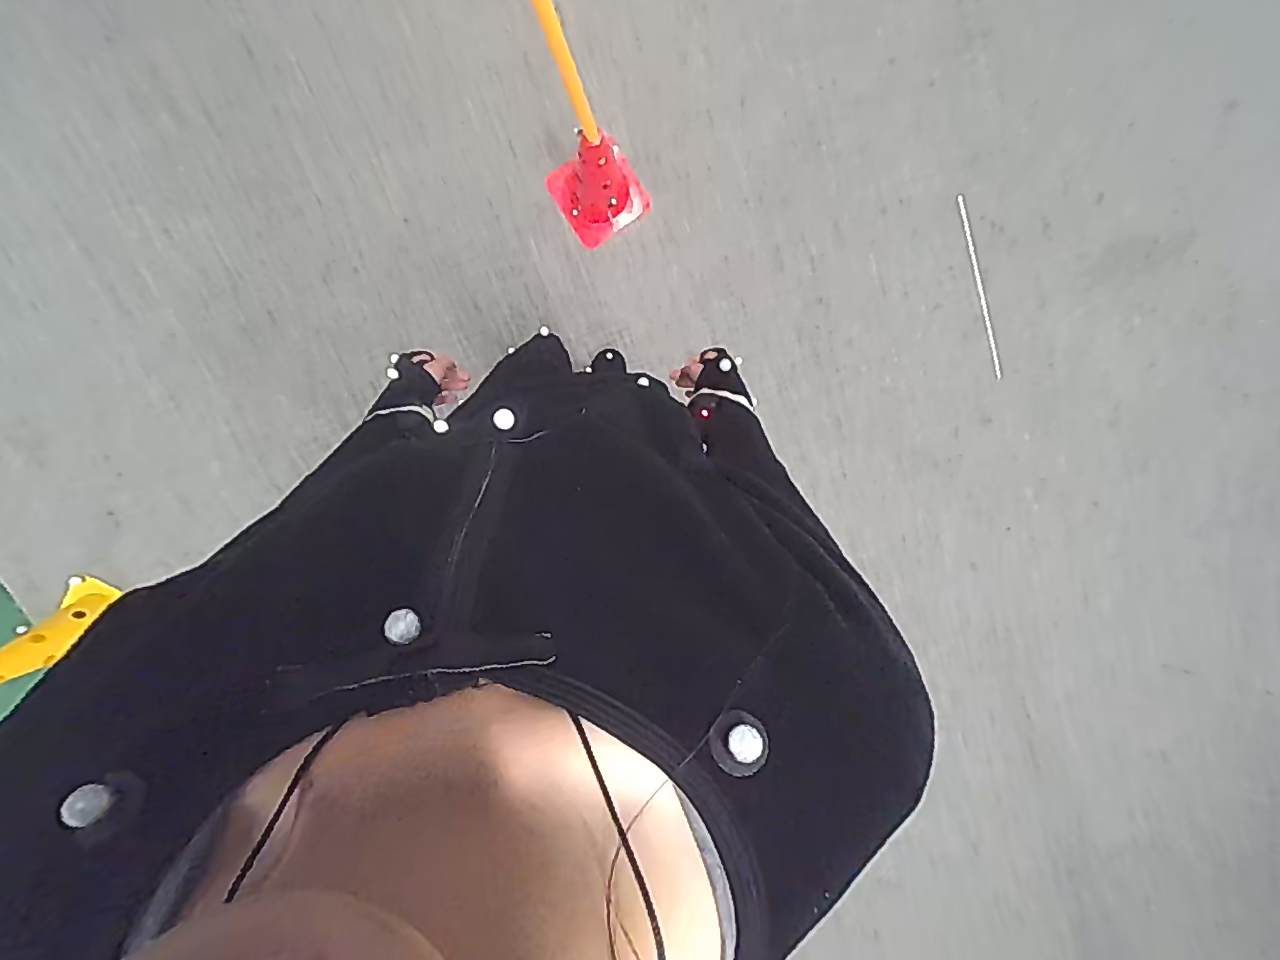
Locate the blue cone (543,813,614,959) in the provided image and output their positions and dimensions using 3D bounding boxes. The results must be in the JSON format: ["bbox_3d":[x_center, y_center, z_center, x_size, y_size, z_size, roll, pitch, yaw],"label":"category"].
[{"bbox_3d":[-0.179,1.188,1.562,0.193,0.380,0.192,23,99,-10],"label":"blue cone"}]
